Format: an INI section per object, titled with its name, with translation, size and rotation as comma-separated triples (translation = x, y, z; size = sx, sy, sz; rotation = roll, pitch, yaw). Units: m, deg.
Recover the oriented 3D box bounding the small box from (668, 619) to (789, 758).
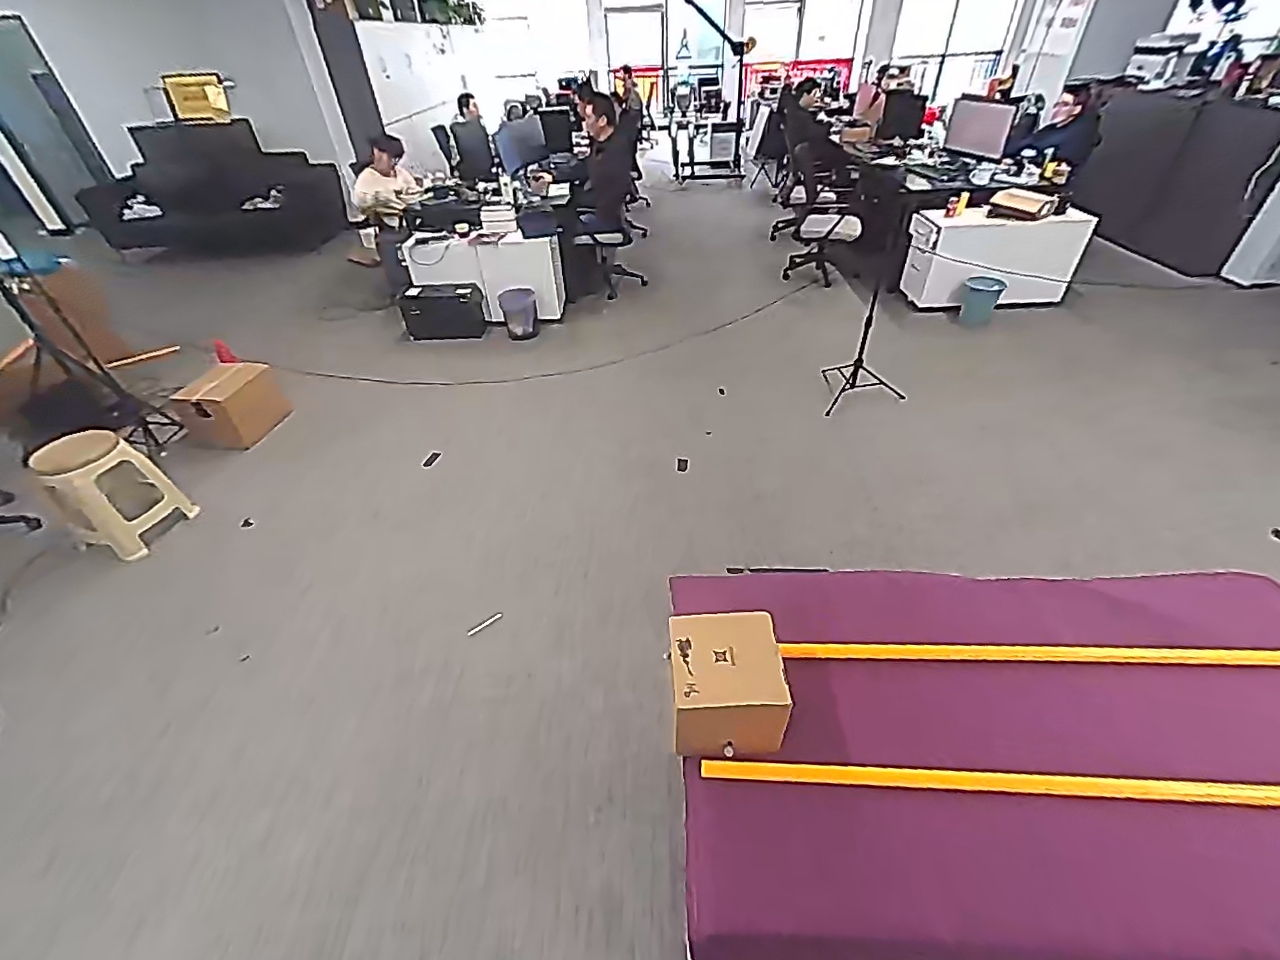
[small box]
translation = 0.139, 0.356, 0.923
size = 0.179, 0.176, 0.168
rotation = -1, 40, 1
